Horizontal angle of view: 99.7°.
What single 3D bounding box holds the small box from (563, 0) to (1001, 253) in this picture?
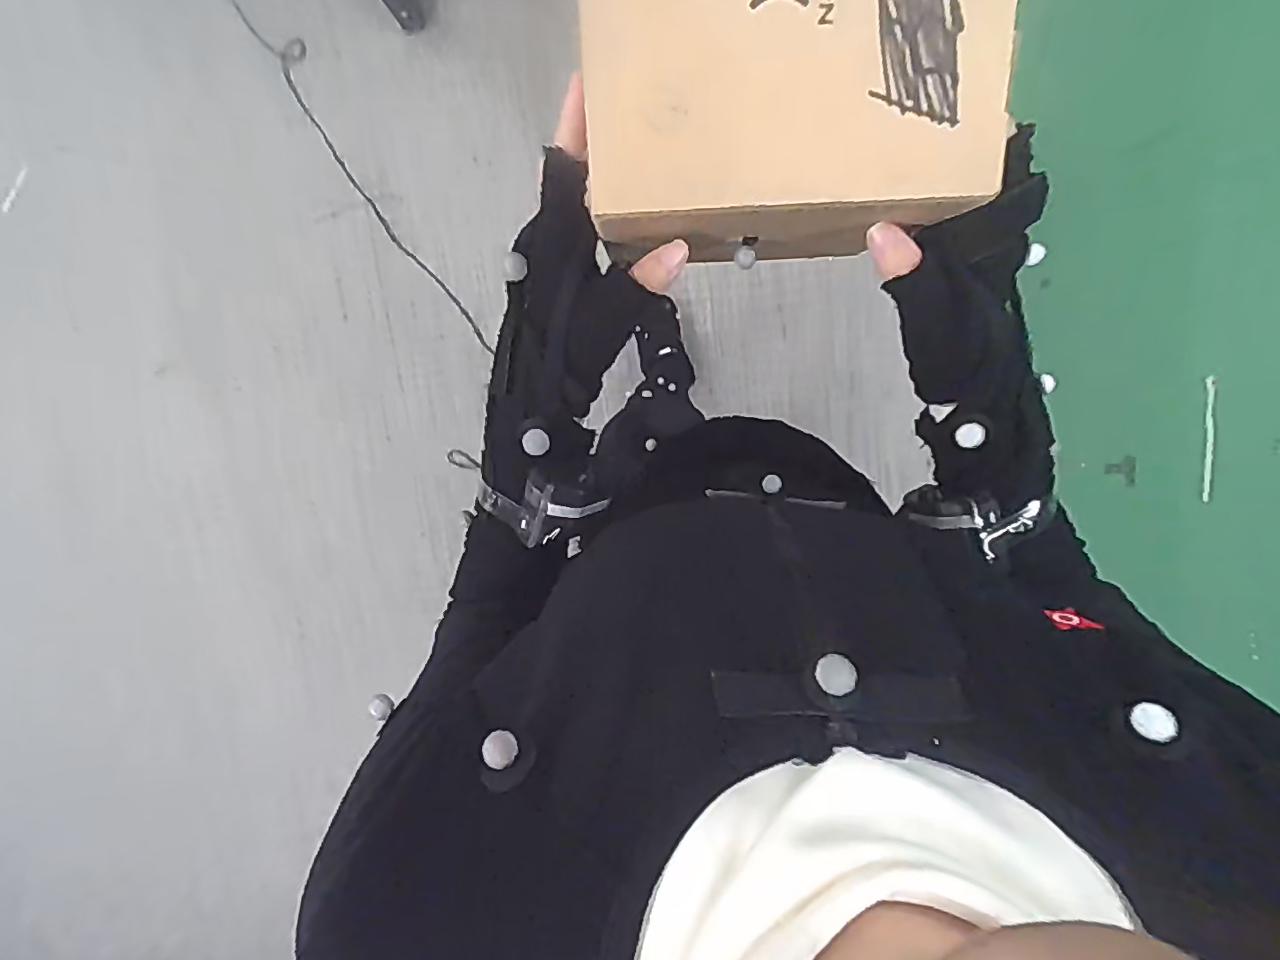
[{"bbox_3d":[0.056,-0.222,0.286,0.179,0.176,0.168,-1,104,1],"label":"small box"}]
